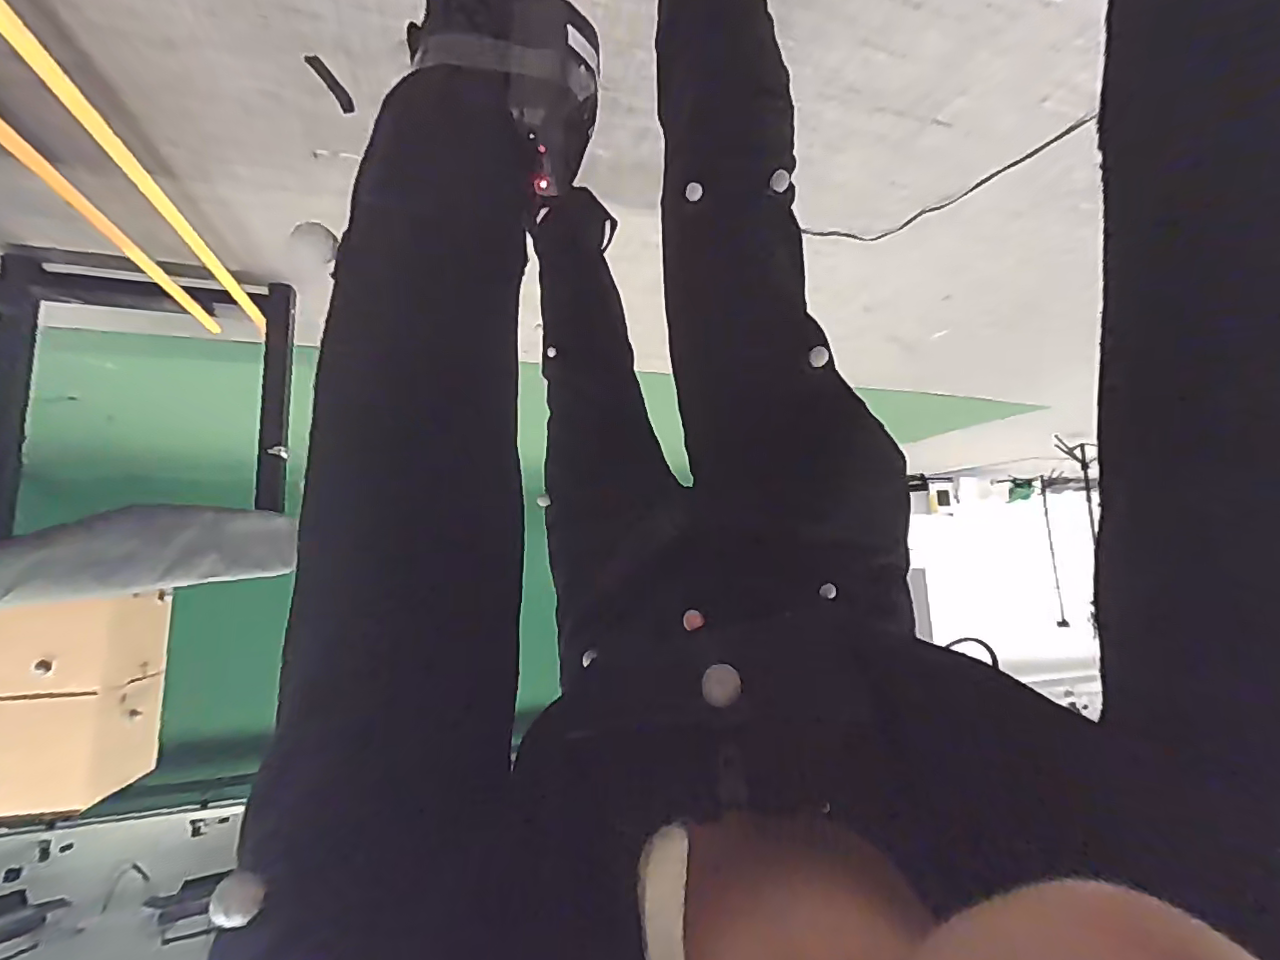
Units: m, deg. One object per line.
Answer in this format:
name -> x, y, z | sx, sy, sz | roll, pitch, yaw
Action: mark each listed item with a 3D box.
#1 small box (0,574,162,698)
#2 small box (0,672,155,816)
small box -> -0.926, 0.244, 0.883 | 0.179, 0.176, 0.168 | 2, 172, -14
small box -> -0.926, 0.407, 0.862 | 0.179, 0.176, 0.168 | 1, 173, -12
